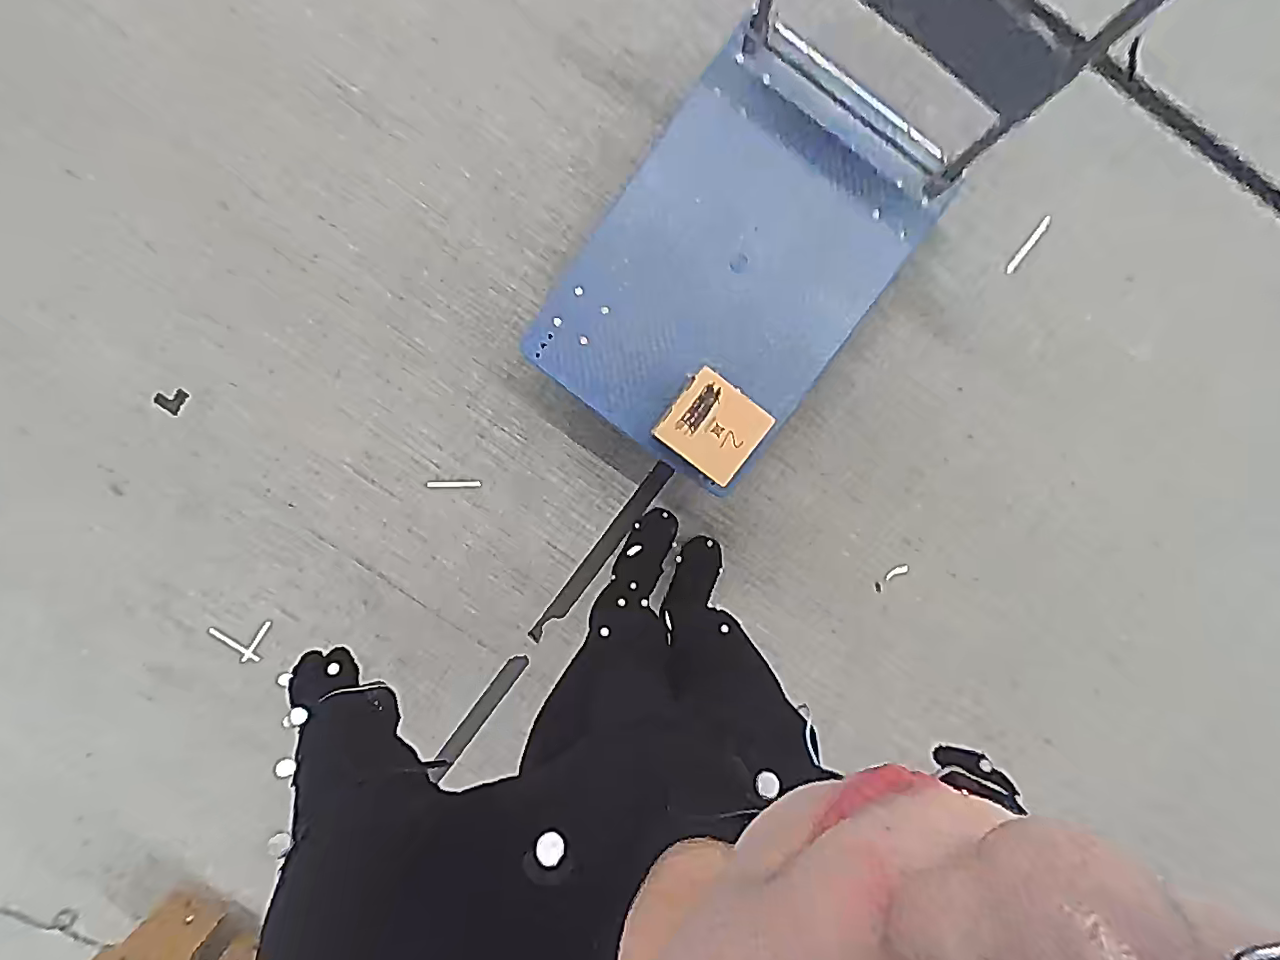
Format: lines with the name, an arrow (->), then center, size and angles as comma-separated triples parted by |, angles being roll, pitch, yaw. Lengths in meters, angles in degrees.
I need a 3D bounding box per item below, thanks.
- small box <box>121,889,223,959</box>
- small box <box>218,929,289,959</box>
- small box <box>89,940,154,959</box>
small box -> -1.293, 1.280, 1.472 | 0.168, 0.176, 0.179 | 26, 95, -2
small box -> -1.114, 1.402, 1.485 | 0.168, 0.176, 0.179 | 31, 96, -2
small box -> -1.319, 1.289, 1.308 | 0.168, 0.176, 0.179 | 27, 95, -3
